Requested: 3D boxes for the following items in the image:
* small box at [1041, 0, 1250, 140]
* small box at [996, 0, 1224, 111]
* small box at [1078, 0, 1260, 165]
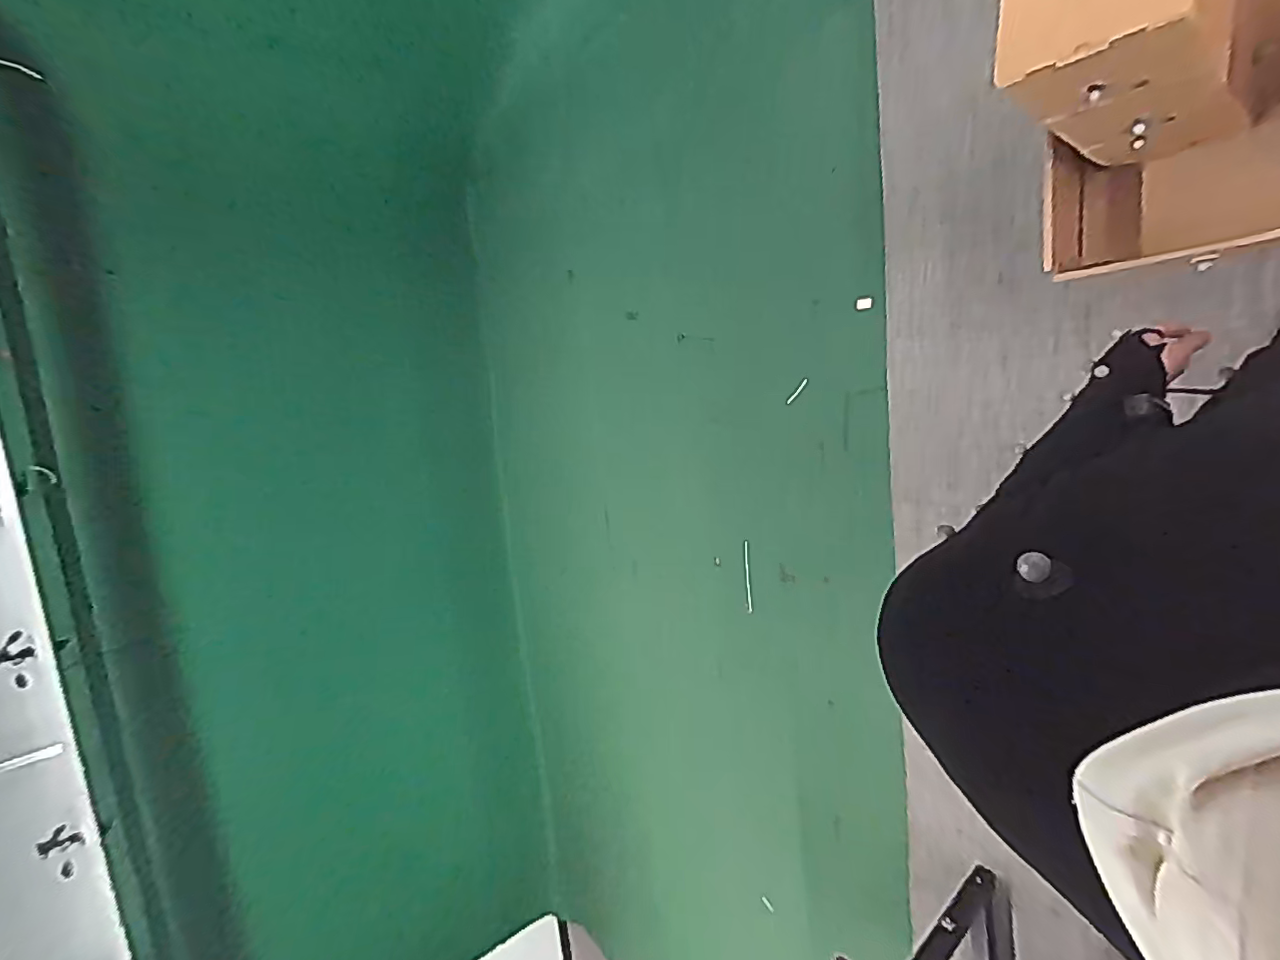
[{"bbox_3d":[0.648,-0.574,0.695,0.168,0.176,0.179,11,108,52],"label":"small box"},{"bbox_3d":[0.522,-0.549,0.595,0.168,0.176,0.179,12,109,51],"label":"small box"},{"bbox_3d":[0.775,-0.599,0.795,0.168,0.176,0.179,8,105,52],"label":"small box"}]
